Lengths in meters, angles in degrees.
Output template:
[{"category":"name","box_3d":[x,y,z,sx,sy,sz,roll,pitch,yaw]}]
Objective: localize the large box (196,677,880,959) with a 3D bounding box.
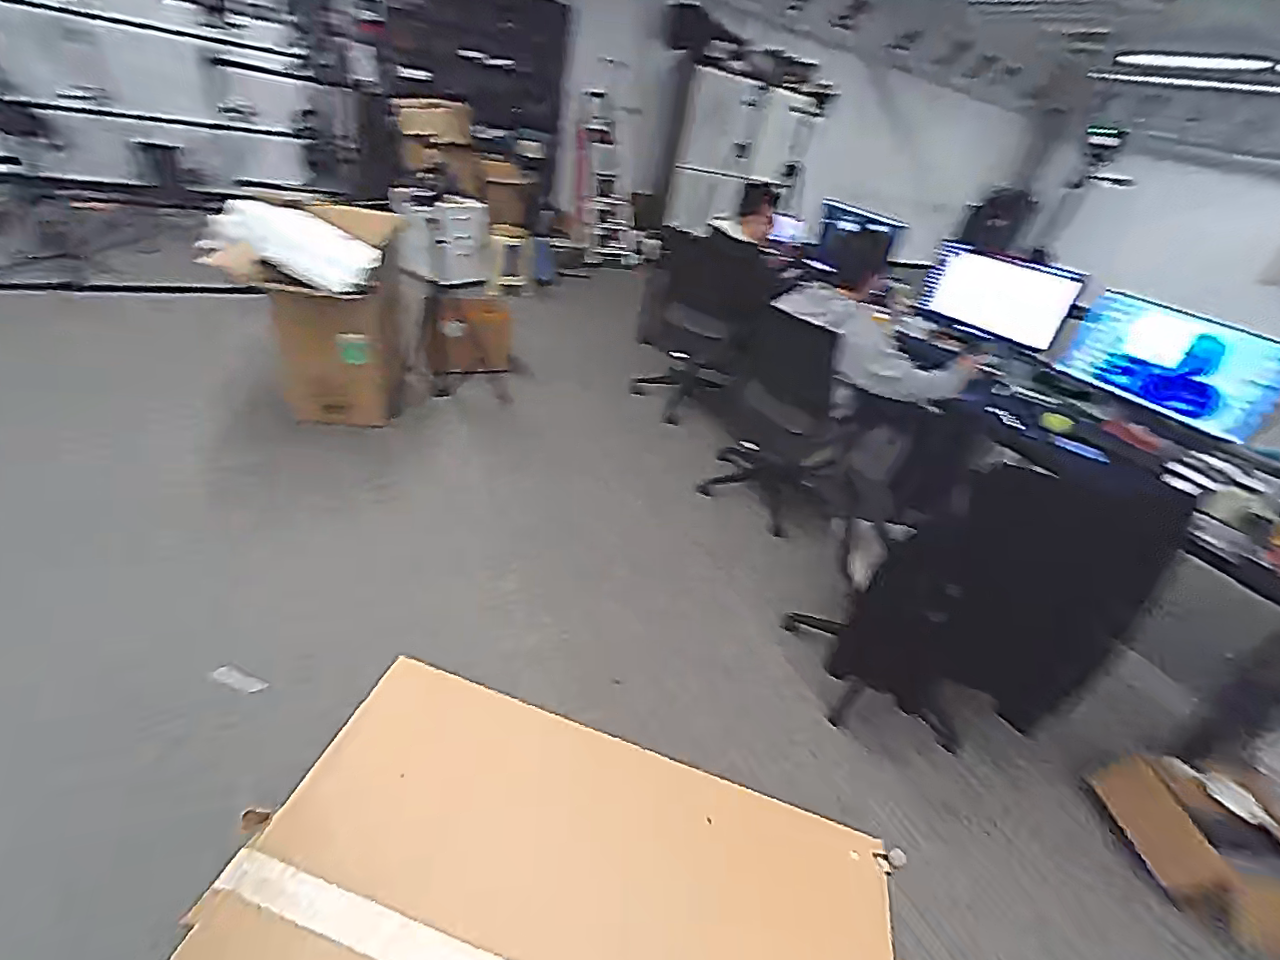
[{"category":"large box","box_3d":[-0.079,0.417,0.402,0.408,0.320,0.320,18,39,4]}]
